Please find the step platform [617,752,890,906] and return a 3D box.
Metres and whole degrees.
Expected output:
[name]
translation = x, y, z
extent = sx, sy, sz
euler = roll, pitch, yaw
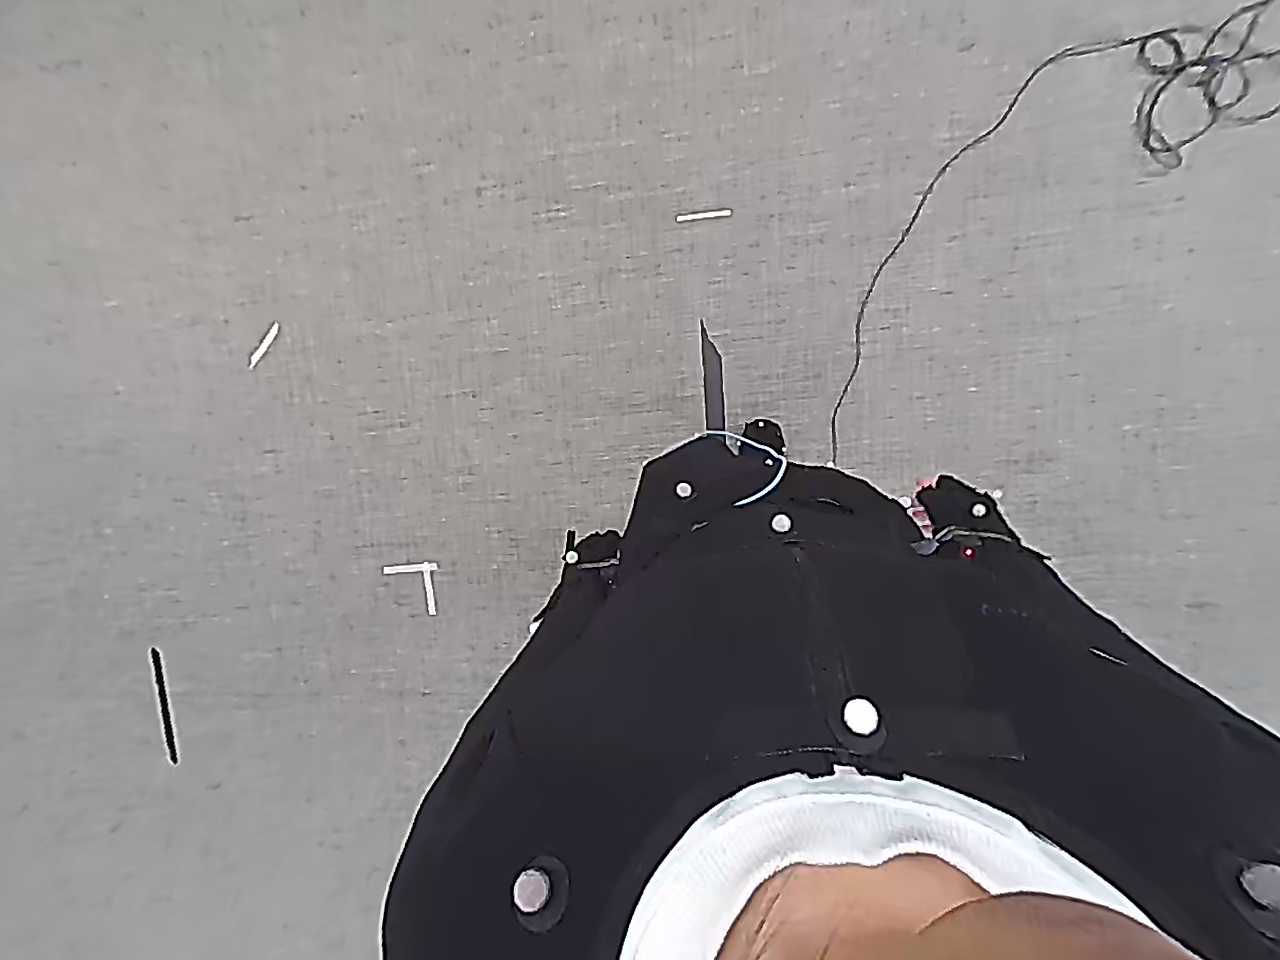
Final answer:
[step platform]
translation = 0.280, 0.902, 1.416
extent = 0.684, 0.204, 0.286
euler = -5, 94, 10
